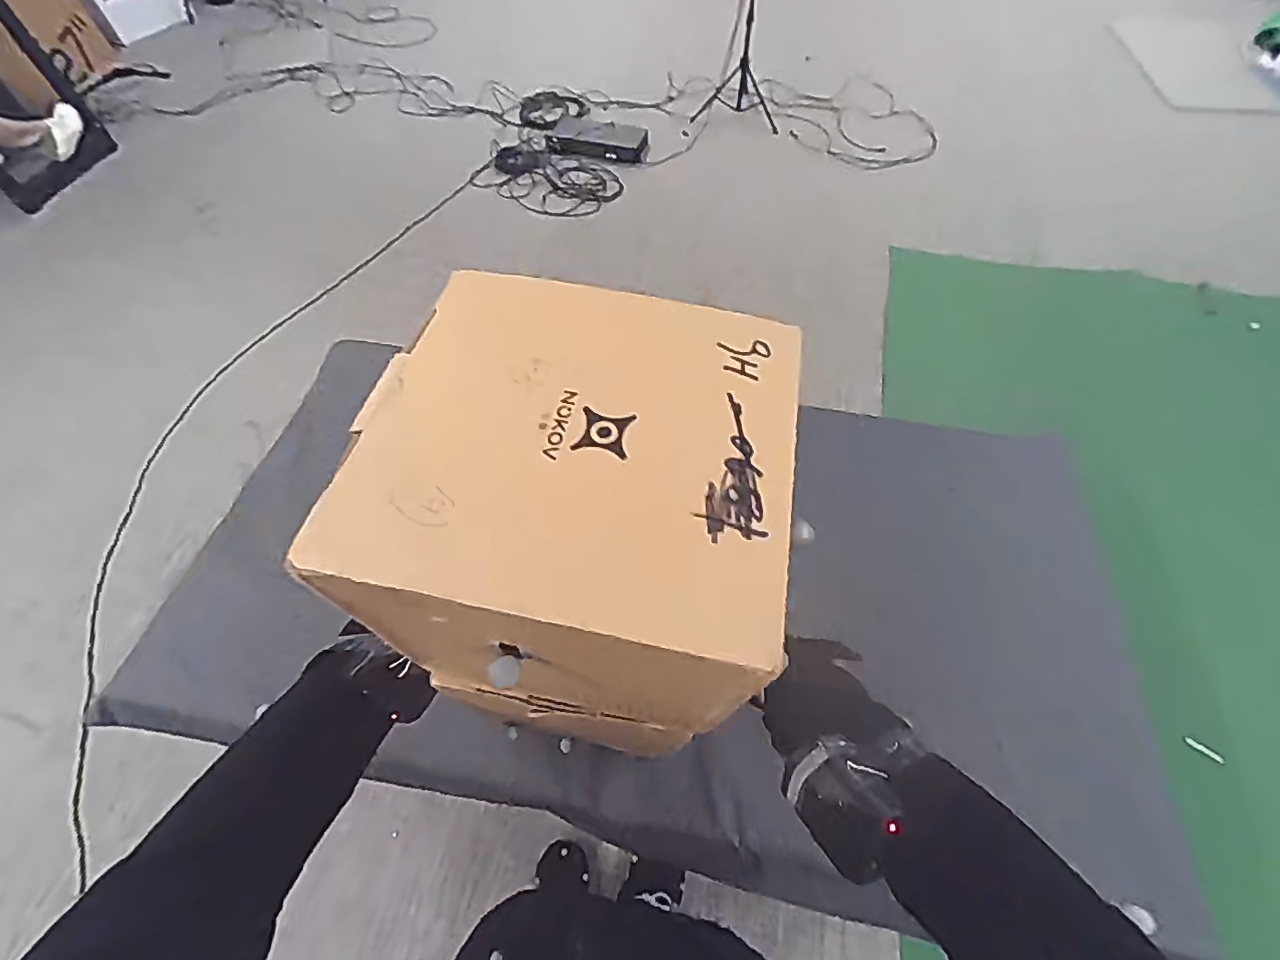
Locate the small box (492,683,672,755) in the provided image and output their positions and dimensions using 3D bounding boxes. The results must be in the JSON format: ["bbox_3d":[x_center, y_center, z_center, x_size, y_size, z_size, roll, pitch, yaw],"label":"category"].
[{"bbox_3d":[-0.040,0.182,0.589,0.168,0.176,0.179,12,60,5],"label":"small box"}]

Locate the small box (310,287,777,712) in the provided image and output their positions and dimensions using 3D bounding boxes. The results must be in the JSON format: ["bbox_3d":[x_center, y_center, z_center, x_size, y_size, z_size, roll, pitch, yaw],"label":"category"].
[{"bbox_3d":[-0.030,0.021,0.306,0.179,0.176,0.168,9,57,2],"label":"small box"}]
